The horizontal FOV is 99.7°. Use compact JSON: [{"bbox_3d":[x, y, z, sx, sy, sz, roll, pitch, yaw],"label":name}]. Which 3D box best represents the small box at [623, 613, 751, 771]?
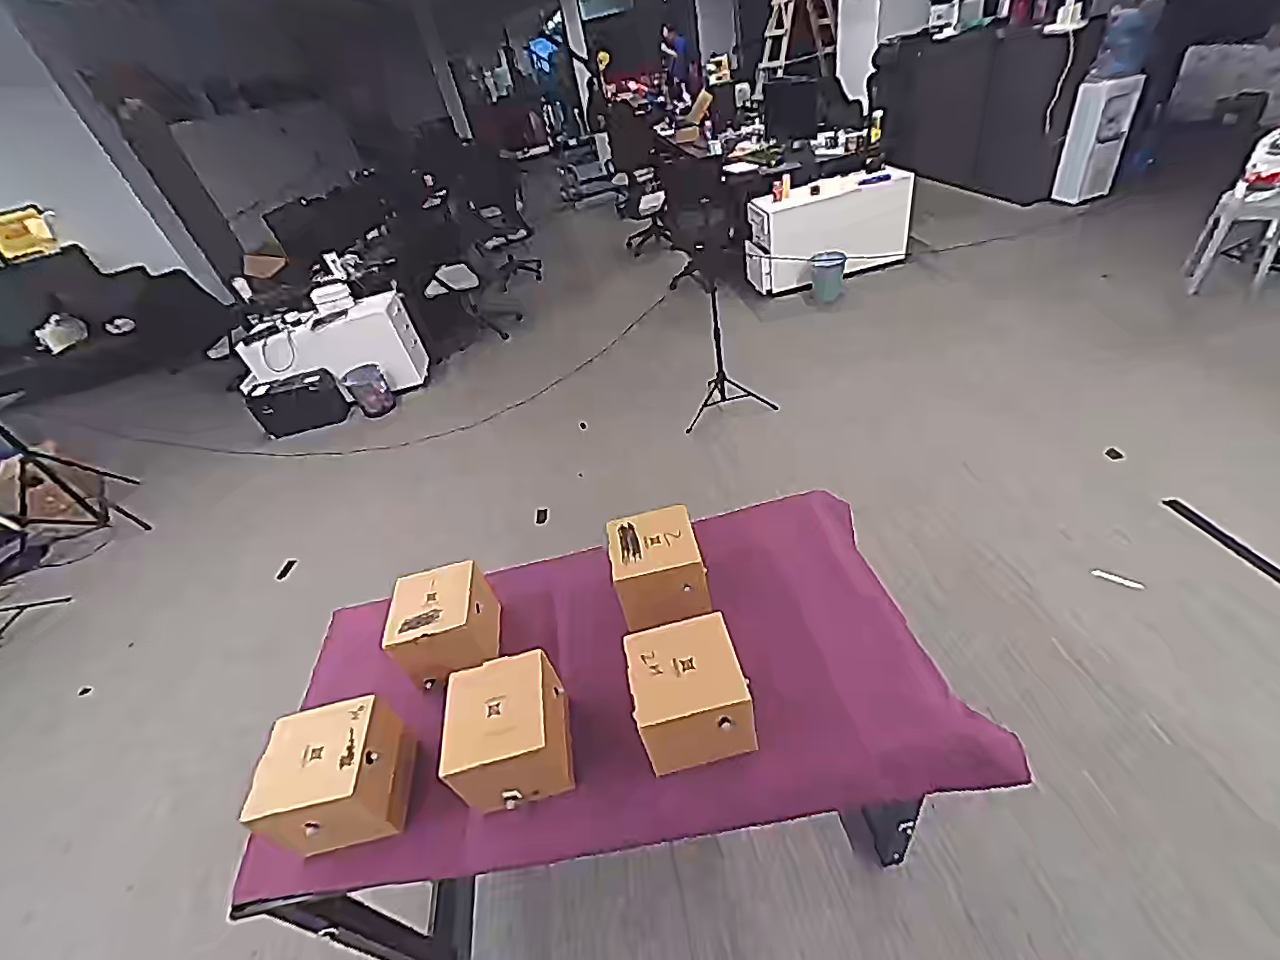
[{"bbox_3d":[0.081,0.357,0.909,0.179,0.176,0.168,-15,38,0],"label":"small box"}]

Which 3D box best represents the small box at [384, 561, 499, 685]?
[{"bbox_3d":[-0.401,0.304,1.125,0.168,0.176,0.179,-15,39,-1],"label":"small box"}]

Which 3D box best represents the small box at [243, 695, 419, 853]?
[{"bbox_3d":[-0.506,0.501,0.917,0.179,0.176,0.168,-15,40,0],"label":"small box"}]

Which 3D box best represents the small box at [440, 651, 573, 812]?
[{"bbox_3d":[-0.219,0.428,0.922,0.168,0.176,0.179,-15,41,0],"label":"small box"}]
